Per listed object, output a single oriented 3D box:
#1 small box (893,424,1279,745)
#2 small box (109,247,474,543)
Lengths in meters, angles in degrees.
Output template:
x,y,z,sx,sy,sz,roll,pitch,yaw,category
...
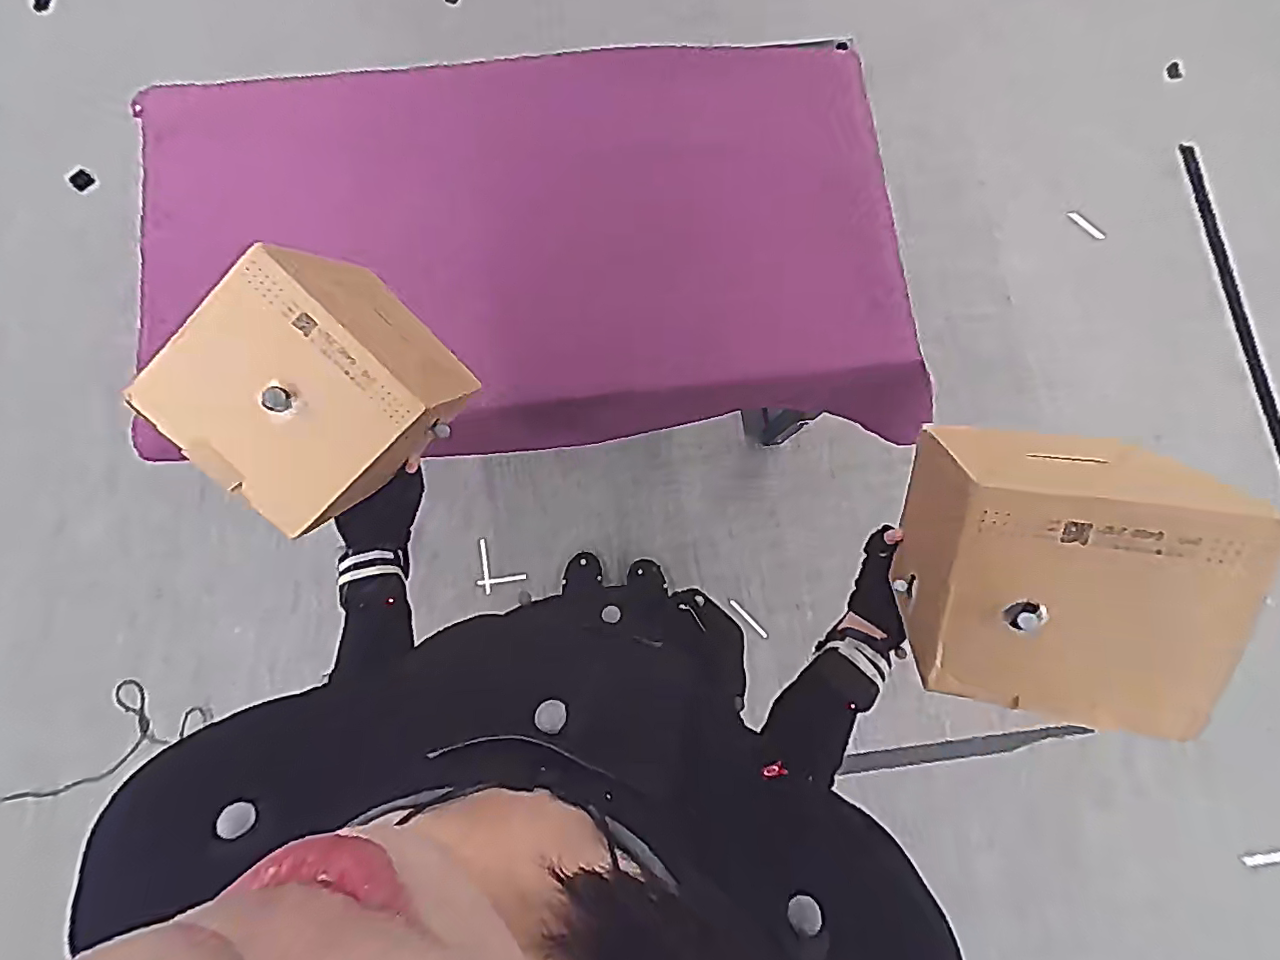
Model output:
x,y,z,sx,sy,sz,roll,pitch,yaw,category
0.309,0.058,0.415,0.168,0.179,0.176,8,111,14,small box
-0.281,-0.080,0.481,0.176,0.179,0.168,-42,101,9,small box
